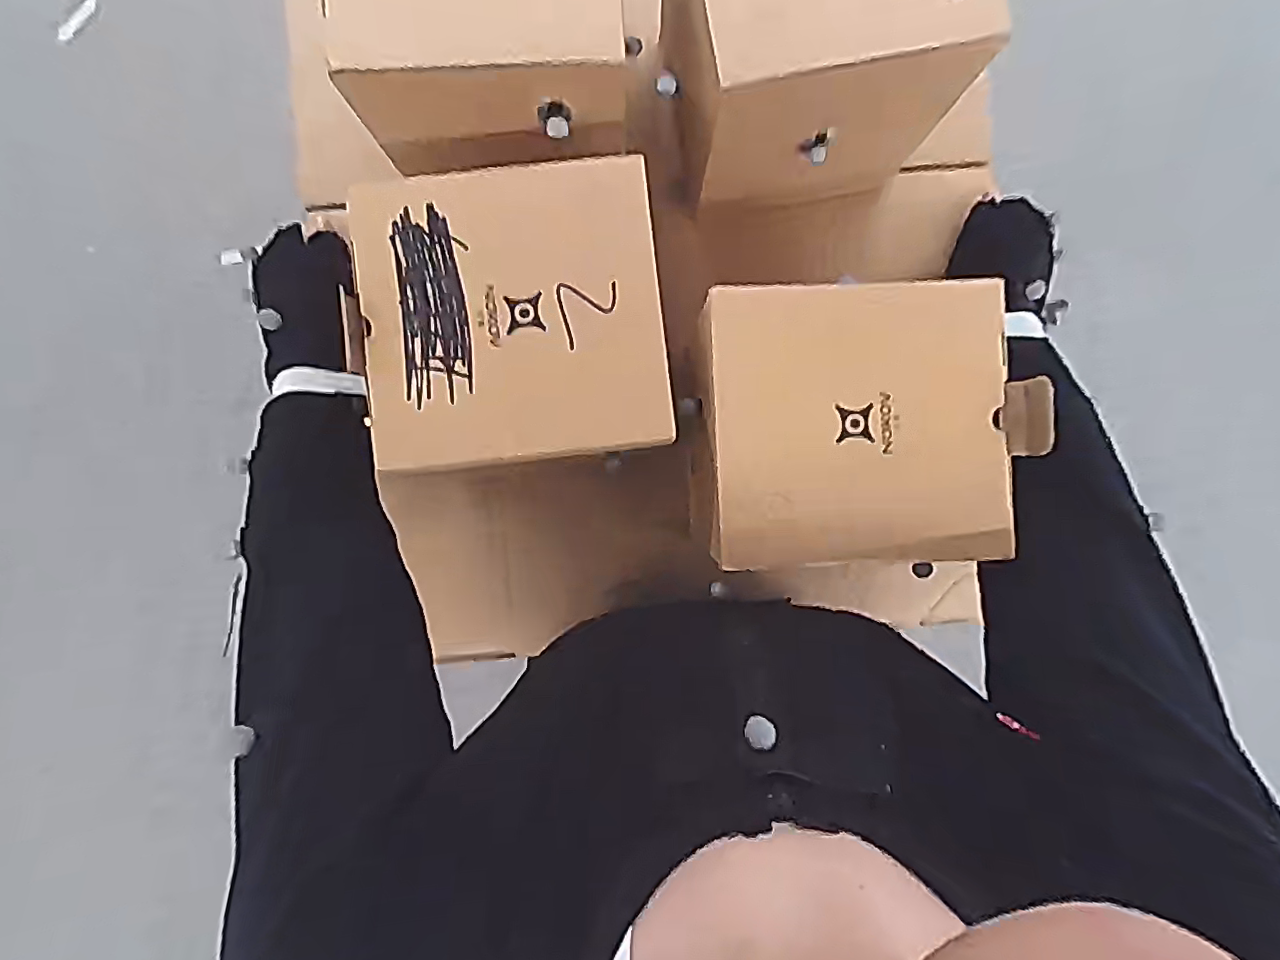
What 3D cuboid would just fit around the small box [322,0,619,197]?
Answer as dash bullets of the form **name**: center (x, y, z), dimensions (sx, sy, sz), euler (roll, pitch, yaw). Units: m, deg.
- **small box**: center (-0.105, -0.334, 0.400), dimensions (0.179, 0.176, 0.168), euler (-3, 90, 0)
